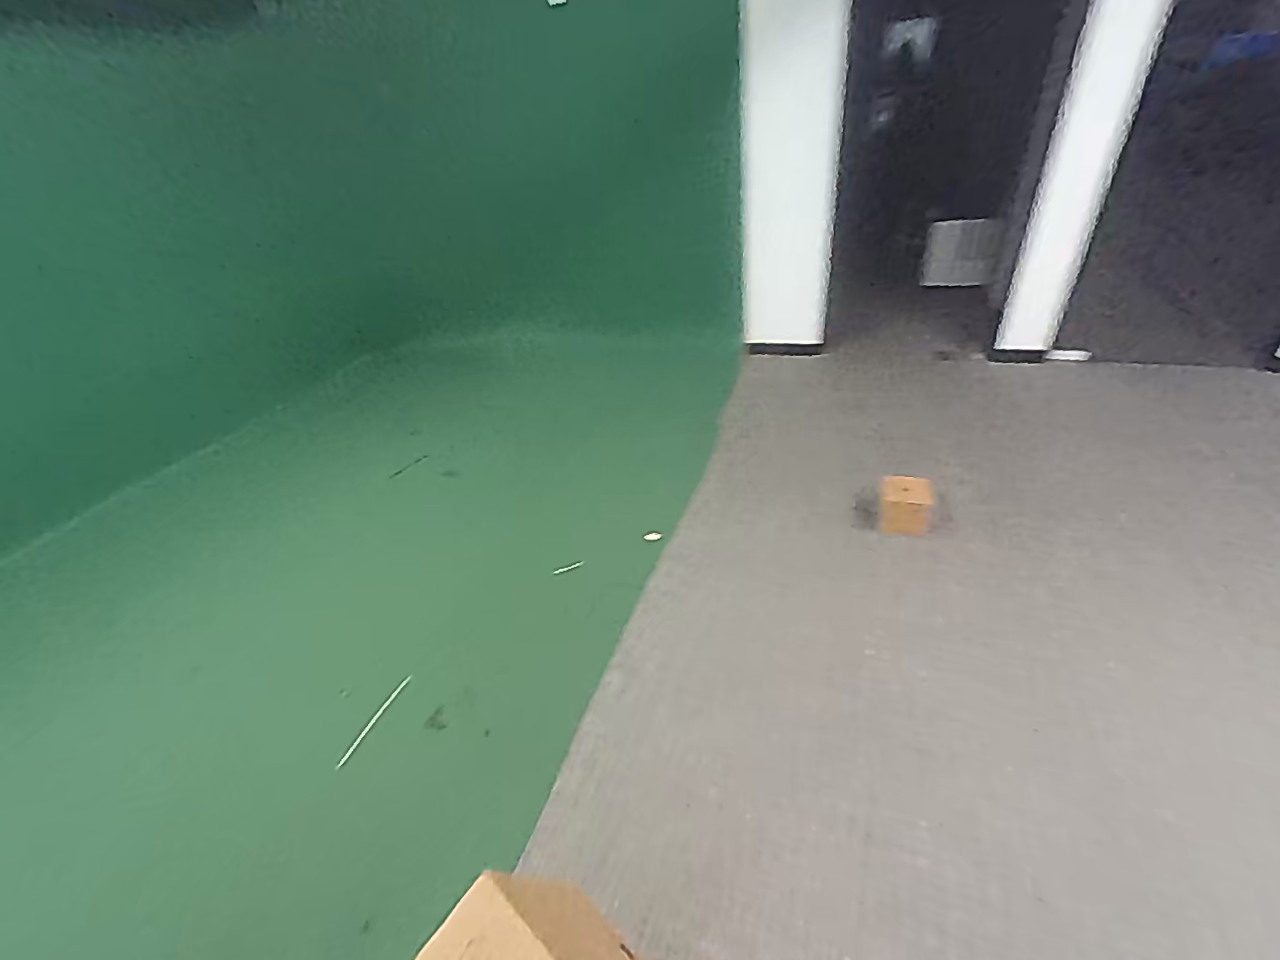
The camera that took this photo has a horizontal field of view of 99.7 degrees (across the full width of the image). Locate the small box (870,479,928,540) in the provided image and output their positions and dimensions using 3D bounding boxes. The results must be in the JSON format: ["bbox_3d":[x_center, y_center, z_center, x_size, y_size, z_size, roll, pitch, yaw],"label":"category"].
[{"bbox_3d":[1.012,0.118,2.123,0.179,0.176,0.168,4,38,17],"label":"small box"}]
